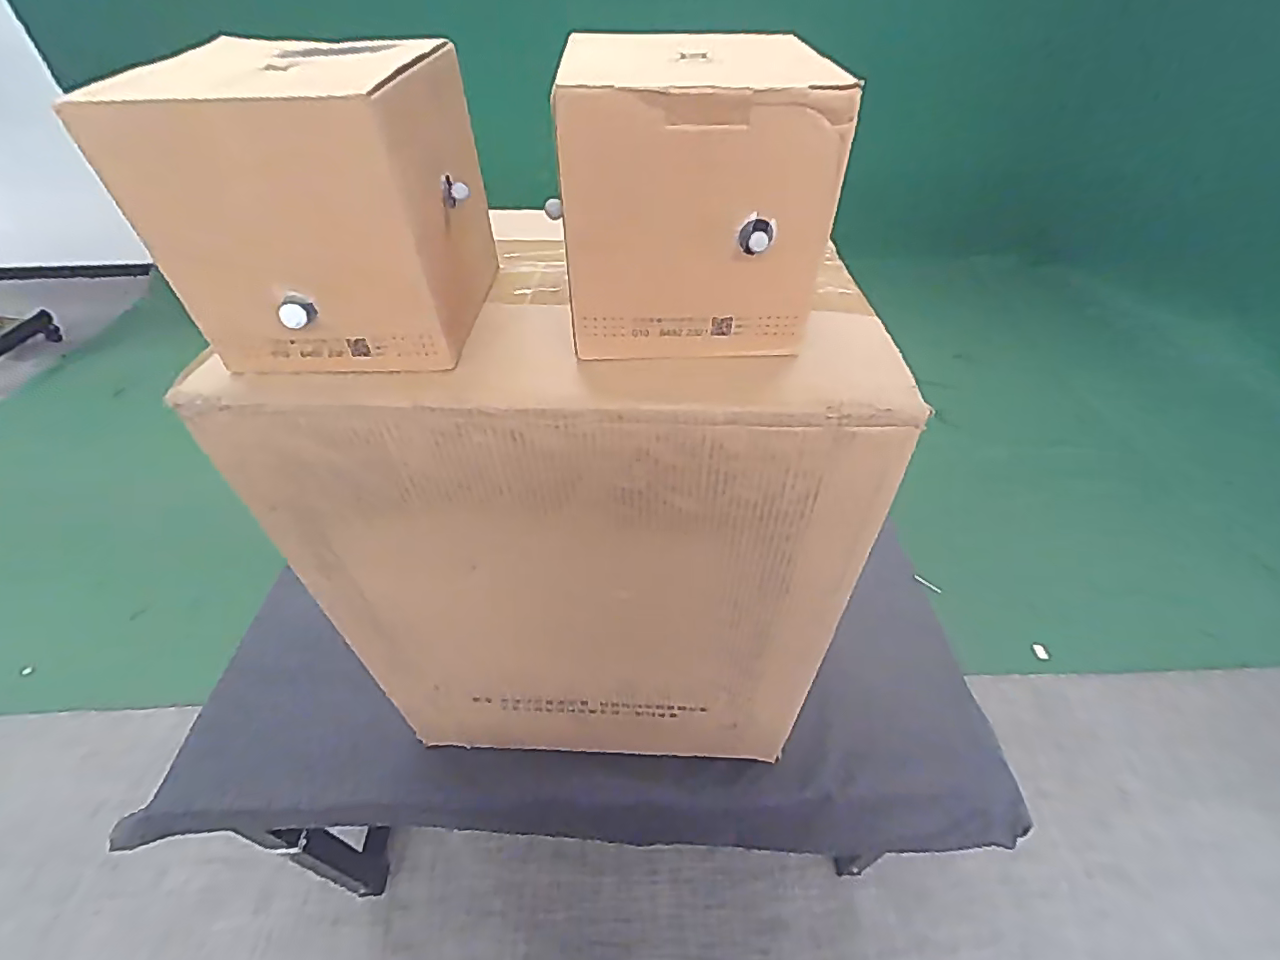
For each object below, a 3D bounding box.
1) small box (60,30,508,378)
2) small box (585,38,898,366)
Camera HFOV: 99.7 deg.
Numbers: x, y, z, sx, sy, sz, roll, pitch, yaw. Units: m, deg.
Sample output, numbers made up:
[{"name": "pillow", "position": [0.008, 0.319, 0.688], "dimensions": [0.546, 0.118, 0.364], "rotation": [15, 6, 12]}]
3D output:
[{"name": "small box", "position": [-0.198, -0.191, 0.375], "dimensions": [0.168, 0.176, 0.179], "rotation": [1, 47, 3]}, {"name": "small box", "position": [0.048, -0.196, 0.389], "dimensions": [0.168, 0.176, 0.179], "rotation": [0, 46, -4]}]
